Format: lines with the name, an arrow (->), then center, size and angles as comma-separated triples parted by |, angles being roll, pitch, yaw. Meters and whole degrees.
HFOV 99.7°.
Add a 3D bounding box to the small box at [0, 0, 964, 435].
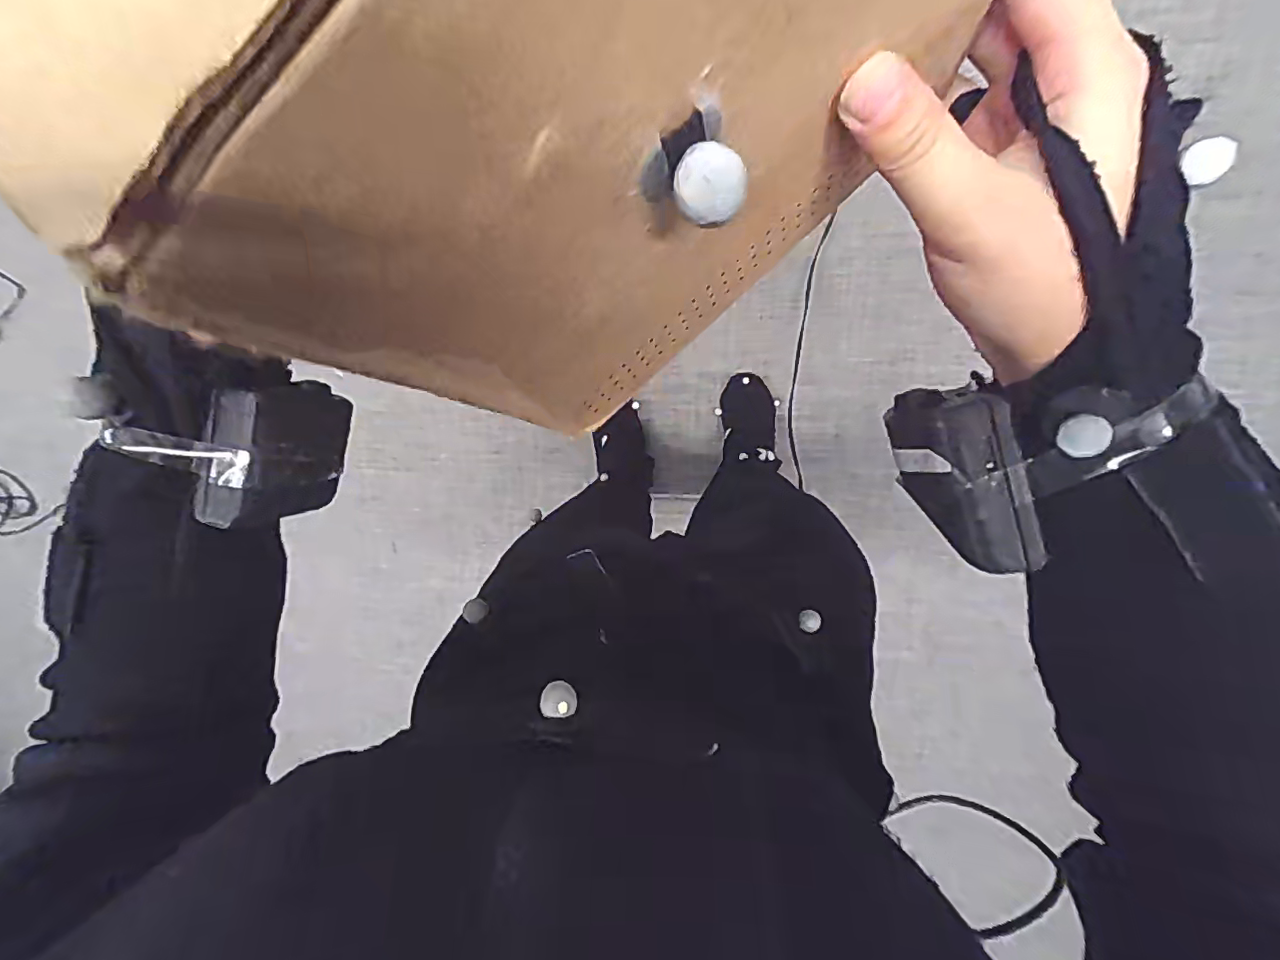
small box -> -0.029, -0.128, 0.143 | 0.179, 0.176, 0.168 | -42, 82, 9
